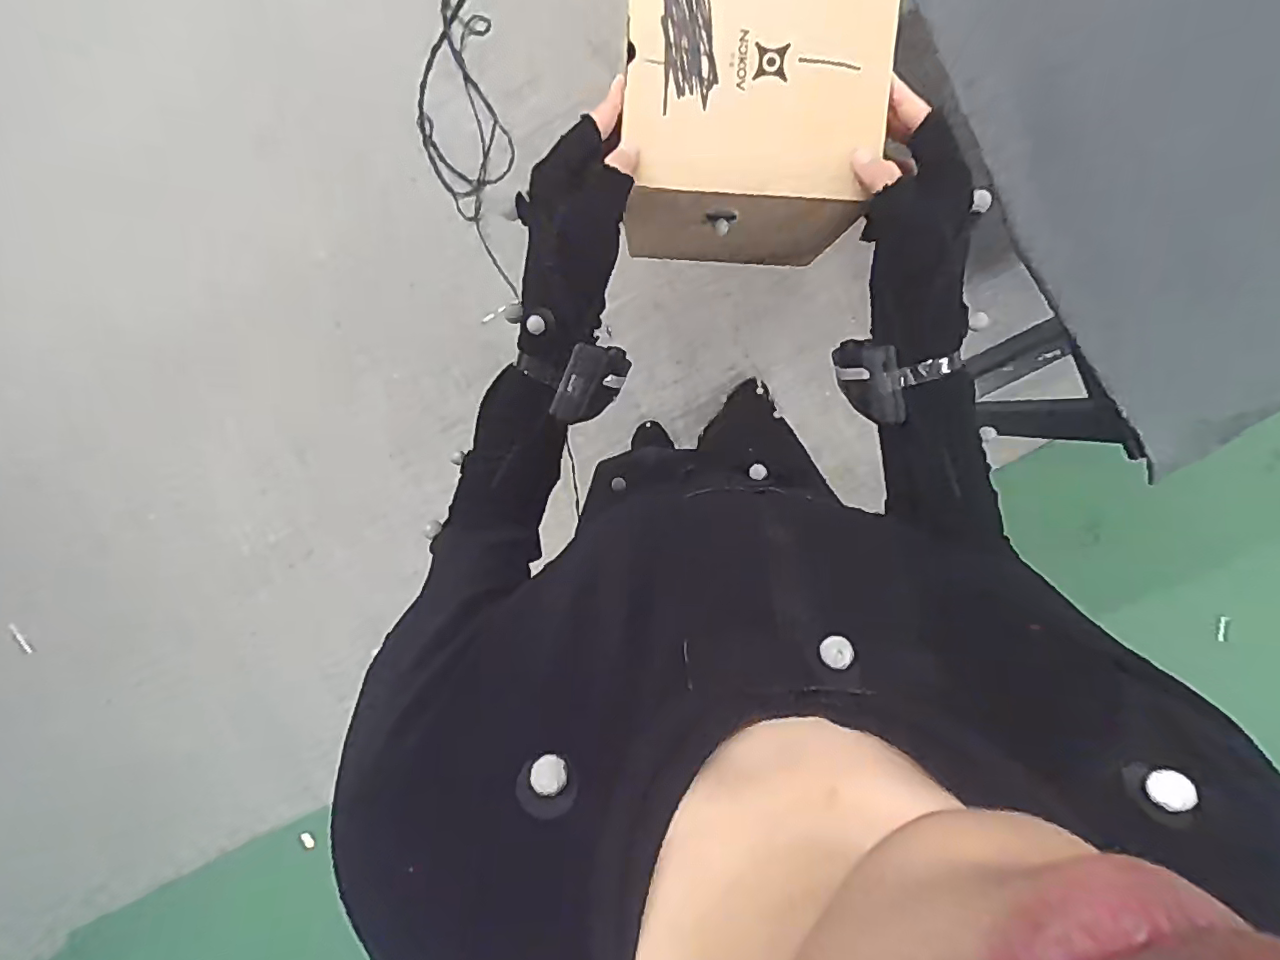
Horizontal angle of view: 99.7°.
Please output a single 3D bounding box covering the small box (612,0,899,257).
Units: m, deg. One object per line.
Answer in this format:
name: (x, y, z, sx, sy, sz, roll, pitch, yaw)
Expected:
small box: (0.076, -0.285, 0.424, 0.179, 0.176, 0.168, 4, 98, 1)
